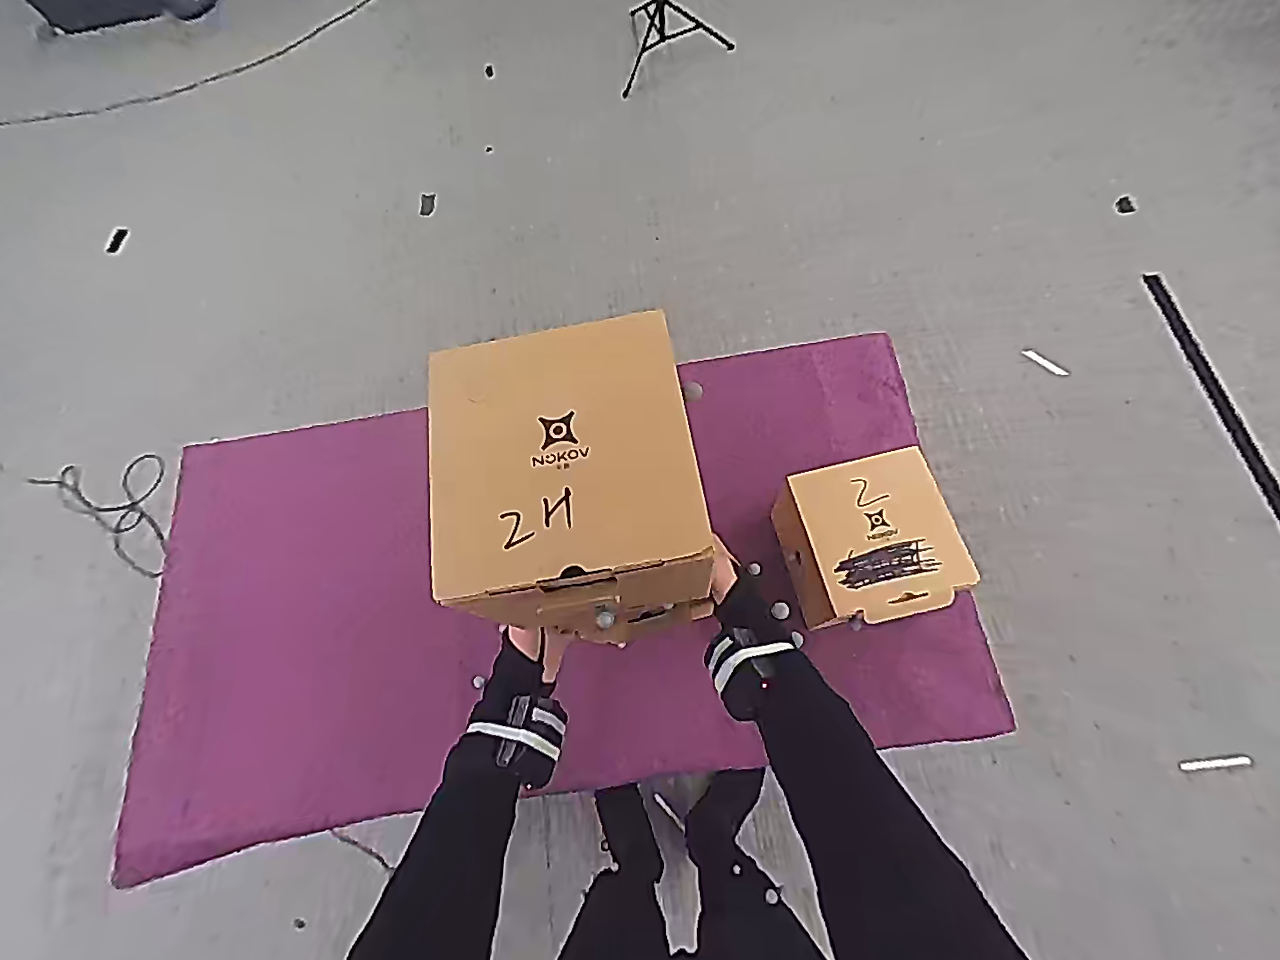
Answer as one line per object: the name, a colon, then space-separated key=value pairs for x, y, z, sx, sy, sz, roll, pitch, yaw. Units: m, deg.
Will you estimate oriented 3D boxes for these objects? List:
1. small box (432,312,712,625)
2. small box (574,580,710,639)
small box: x=-0.044 y=0.004 z=0.416 sx=0.168 sy=0.176 sz=0.179 roll=-10 pitch=69 yaw=2
small box: x=-0.006 y=0.109 z=0.725 sx=0.168 sy=0.176 sz=0.179 roll=-15 pitch=68 yaw=0
